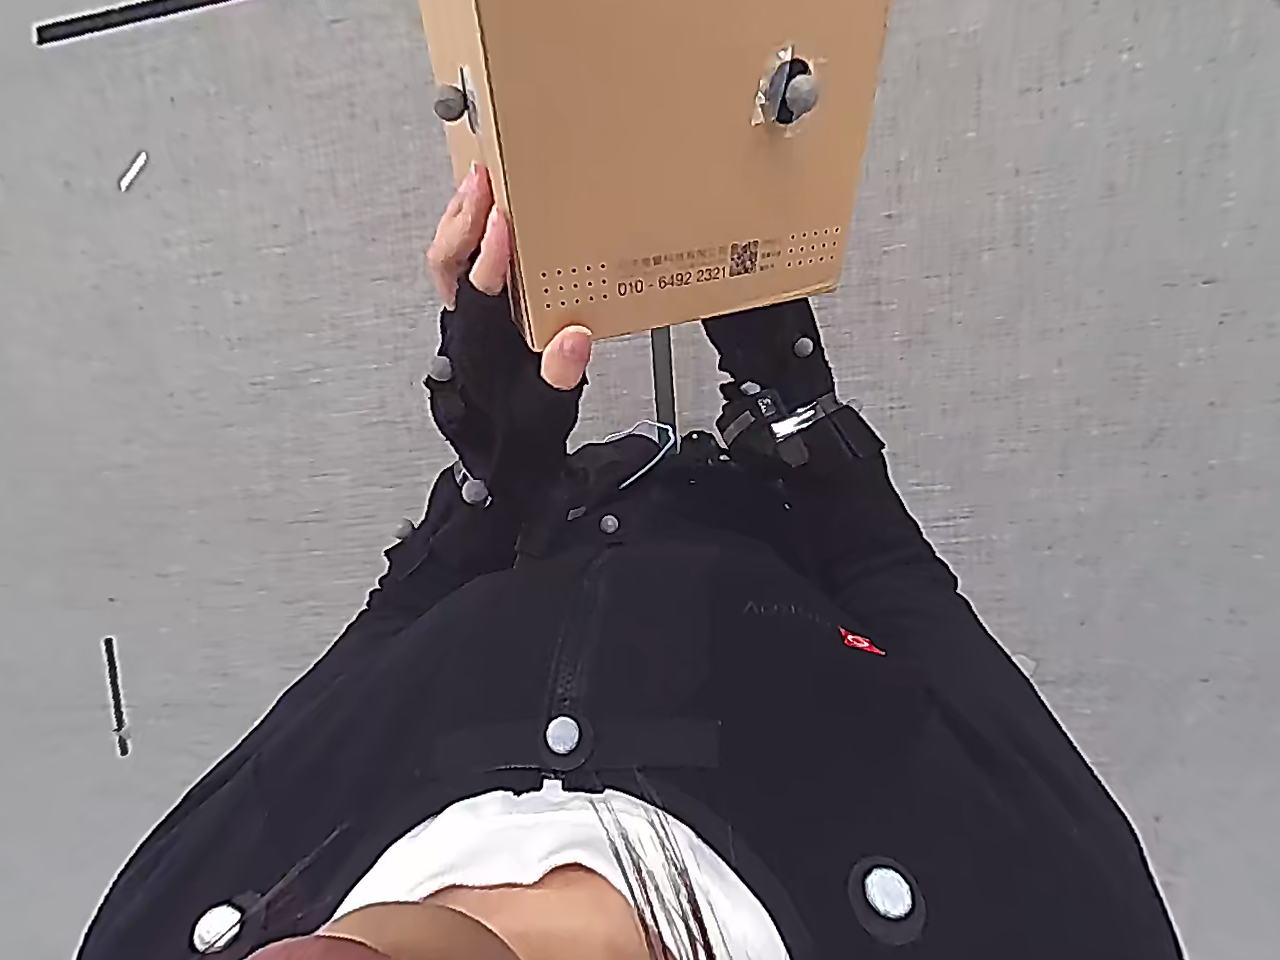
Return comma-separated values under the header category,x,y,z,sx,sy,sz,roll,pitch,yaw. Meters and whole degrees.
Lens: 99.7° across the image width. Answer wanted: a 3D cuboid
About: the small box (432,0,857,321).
category,x,y,z,sx,sy,sz,roll,pitch,yaw
small box,-0.005,-0.196,0.293,0.168,0.179,0.176,-16,130,-17
